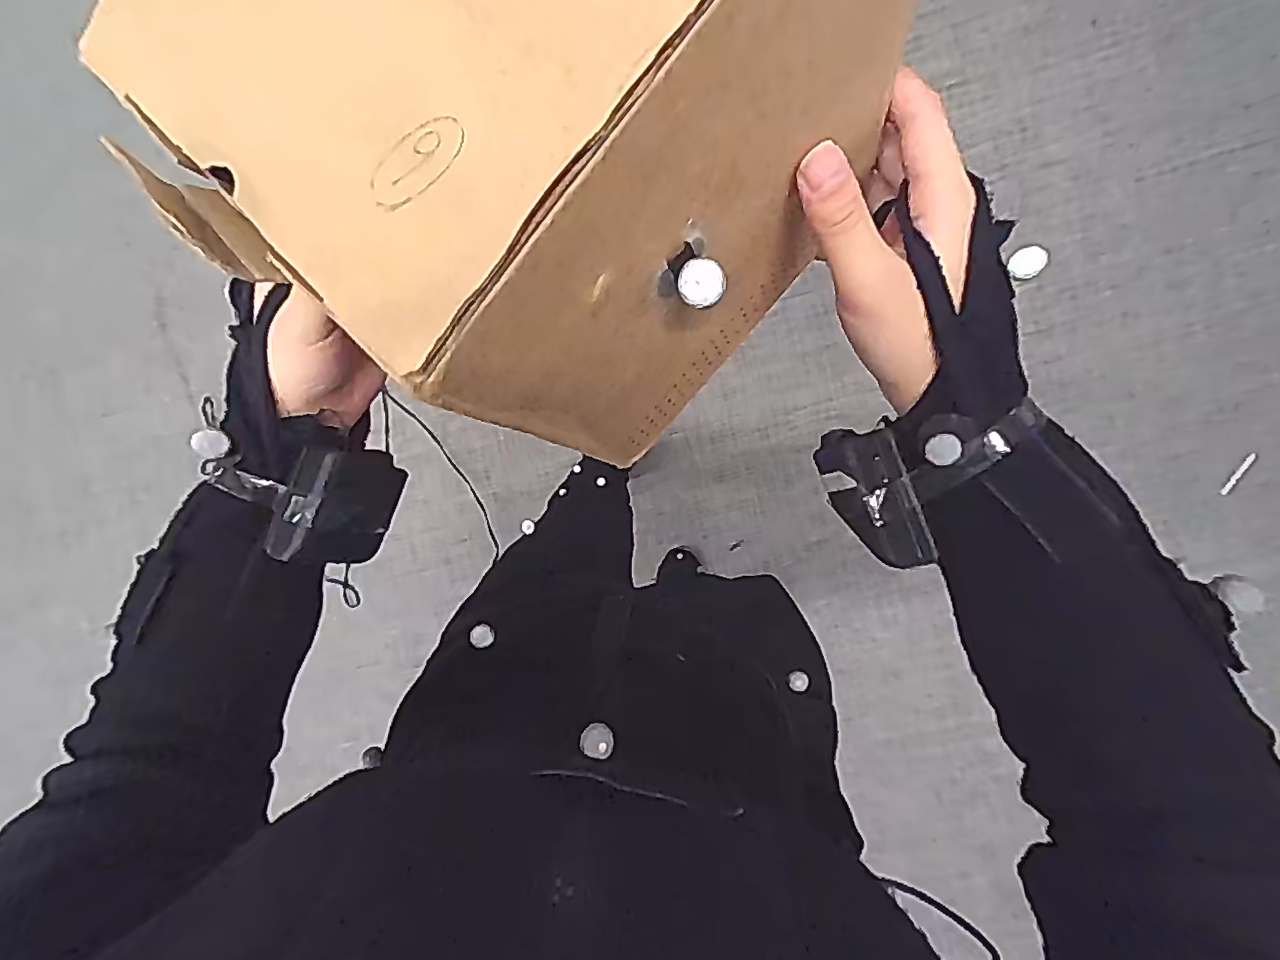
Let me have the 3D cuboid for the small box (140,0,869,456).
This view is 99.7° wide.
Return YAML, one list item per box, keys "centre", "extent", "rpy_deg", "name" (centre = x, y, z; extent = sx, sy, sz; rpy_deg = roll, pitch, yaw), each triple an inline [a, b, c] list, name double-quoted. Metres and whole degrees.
- centre: [-0.027, -0.127, 0.218]
  extent: [0.168, 0.176, 0.179]
  rpy_deg: [43, 98, 15]
  name: "small box"
